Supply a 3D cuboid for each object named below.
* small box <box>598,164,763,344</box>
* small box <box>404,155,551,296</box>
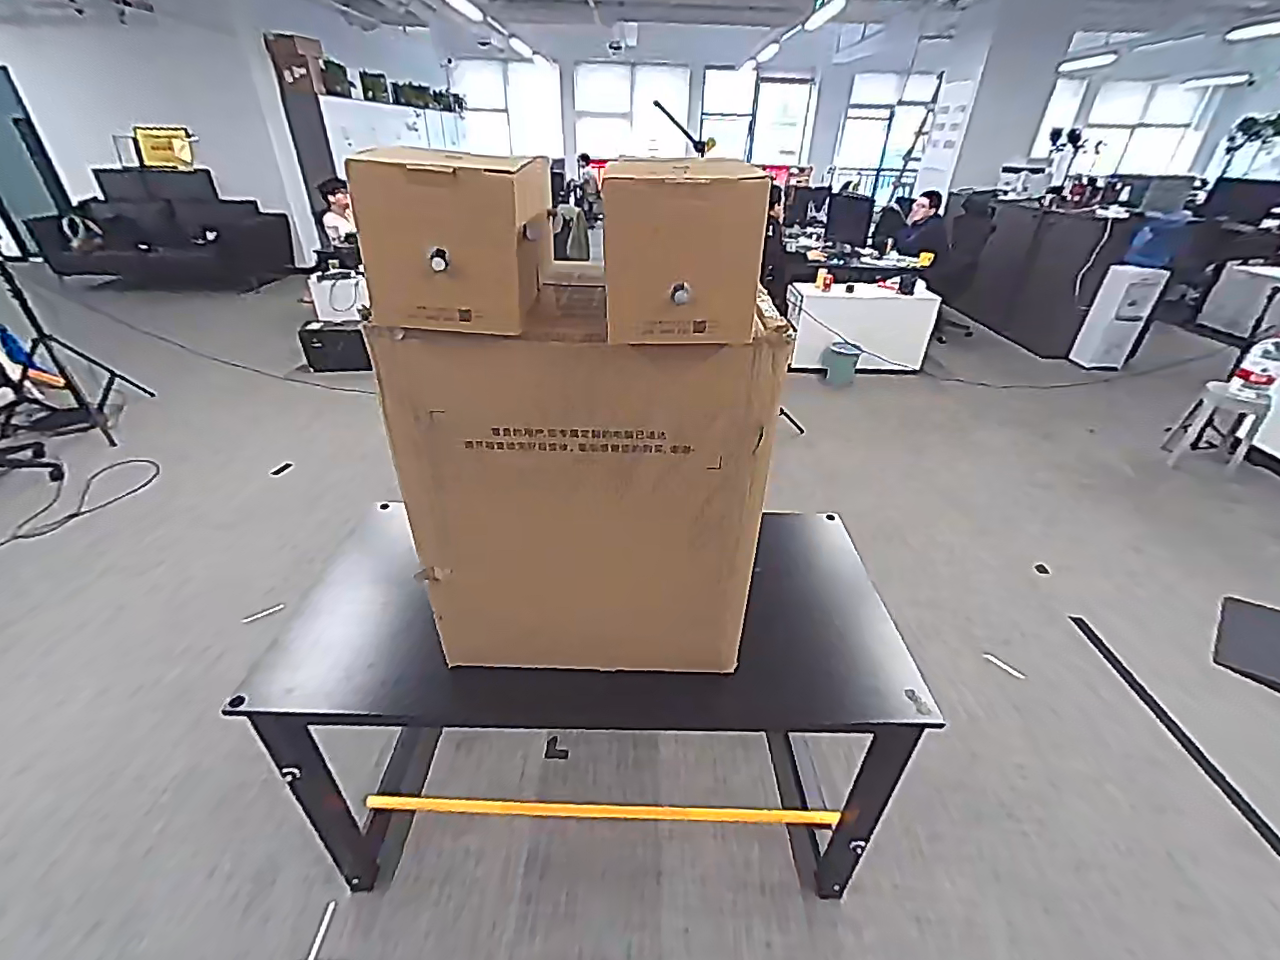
[{"bbox_3d":[0.040,-0.272,0.643,0.168,0.176,0.179,-1,35,0],"label":"small box"},{"bbox_3d":[-0.228,-0.384,0.810,0.168,0.176,0.179,0,32,-2],"label":"small box"}]
